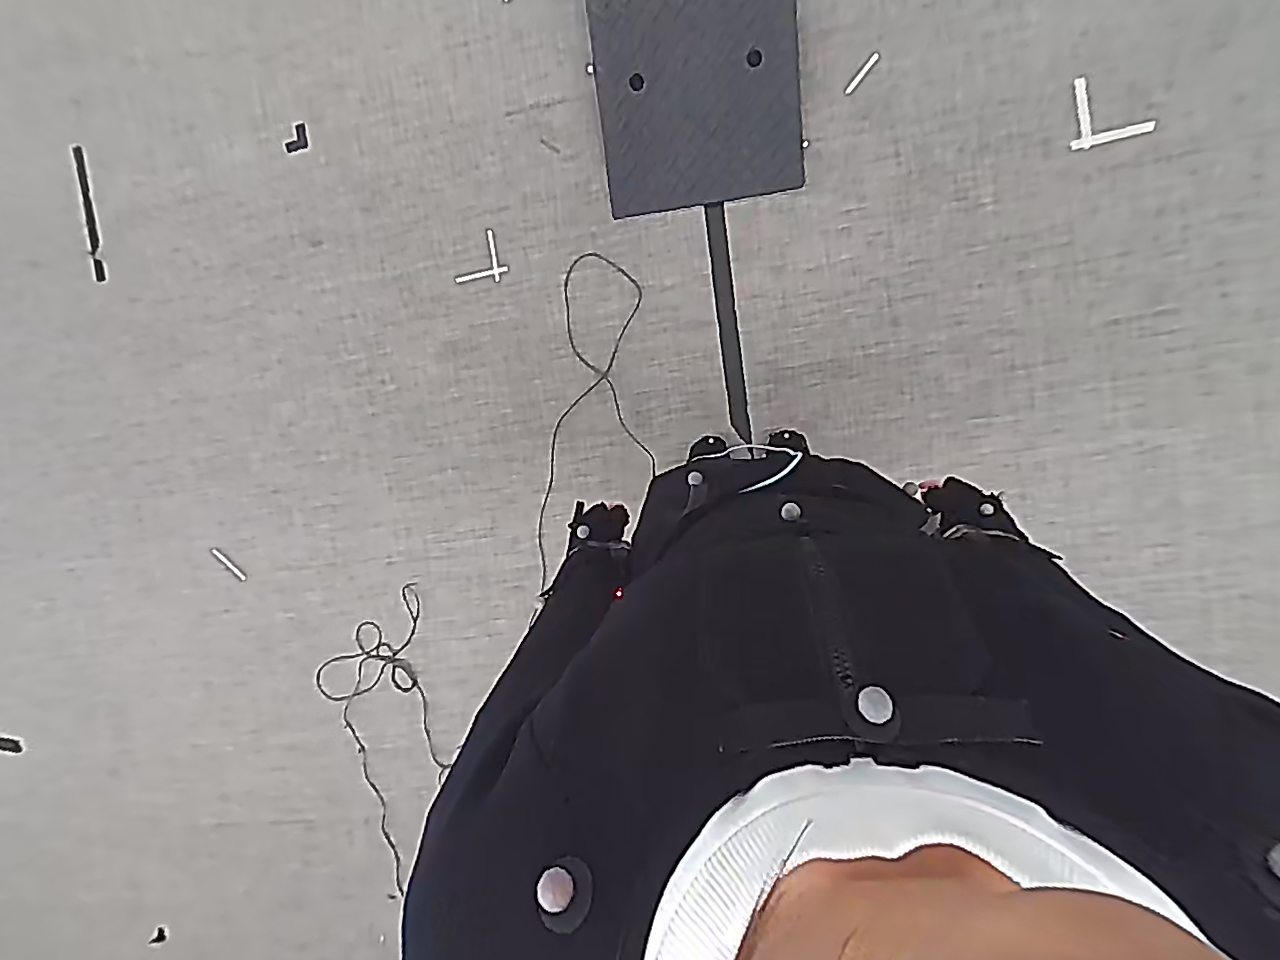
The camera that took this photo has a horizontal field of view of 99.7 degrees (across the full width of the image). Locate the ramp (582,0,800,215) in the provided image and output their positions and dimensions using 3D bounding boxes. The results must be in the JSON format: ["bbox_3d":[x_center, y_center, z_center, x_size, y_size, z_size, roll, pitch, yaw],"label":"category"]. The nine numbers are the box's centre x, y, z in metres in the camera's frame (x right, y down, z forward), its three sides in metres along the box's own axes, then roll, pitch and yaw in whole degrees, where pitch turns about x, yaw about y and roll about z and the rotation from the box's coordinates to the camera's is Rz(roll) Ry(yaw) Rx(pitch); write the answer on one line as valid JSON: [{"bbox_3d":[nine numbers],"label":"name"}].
[{"bbox_3d":[0.099,-1.194,1.255,0.509,0.206,0.991,-7,95,8],"label":"ramp"}]
